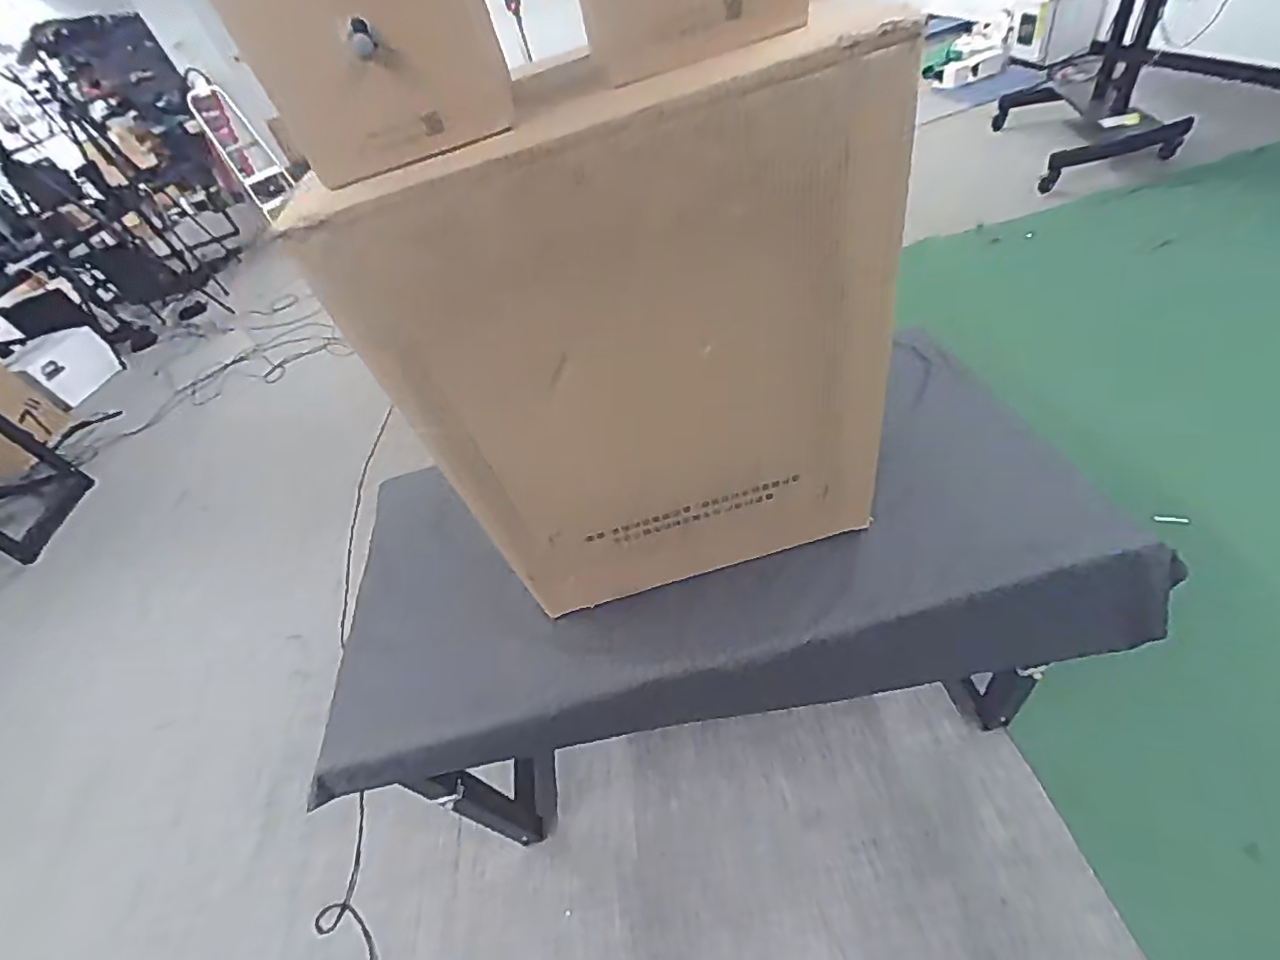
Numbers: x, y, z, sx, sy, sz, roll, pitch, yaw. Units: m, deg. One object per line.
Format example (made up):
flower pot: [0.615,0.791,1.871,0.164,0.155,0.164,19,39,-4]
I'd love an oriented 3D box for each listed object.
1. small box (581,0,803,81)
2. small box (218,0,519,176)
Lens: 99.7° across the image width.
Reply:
small box: [0.028,-0.451,0.437,0.168,0.176,0.179,-15,46,1]
small box: [-0.205,-0.372,0.434,0.168,0.176,0.179,-16,48,3]
